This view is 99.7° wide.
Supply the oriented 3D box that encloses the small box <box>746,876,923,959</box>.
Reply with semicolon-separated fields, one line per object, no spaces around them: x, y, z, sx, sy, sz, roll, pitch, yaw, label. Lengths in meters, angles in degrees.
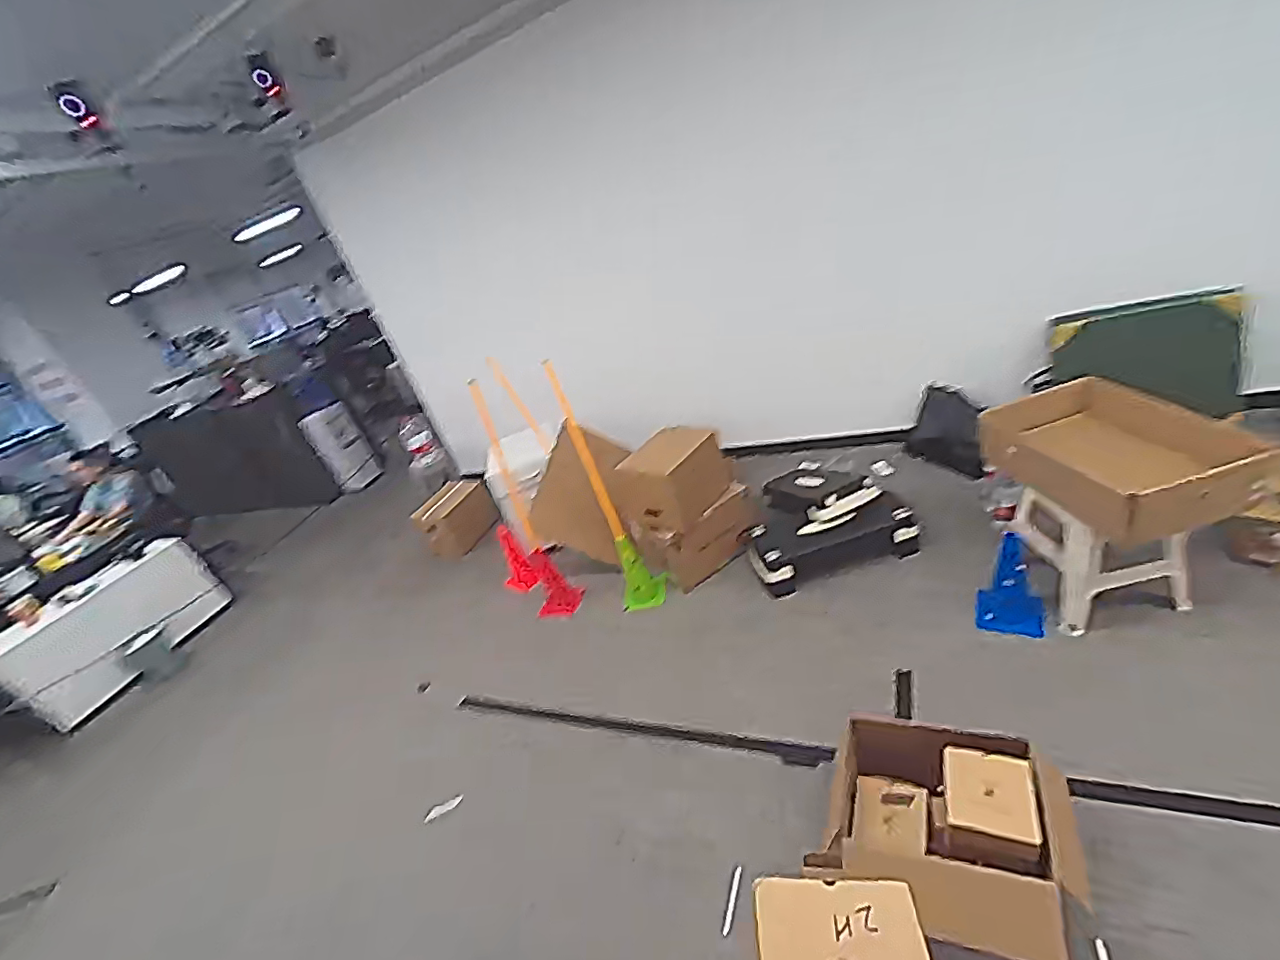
0.203;0.554;0.565;0.168;0.176;0.179;-1;32;5;small box
